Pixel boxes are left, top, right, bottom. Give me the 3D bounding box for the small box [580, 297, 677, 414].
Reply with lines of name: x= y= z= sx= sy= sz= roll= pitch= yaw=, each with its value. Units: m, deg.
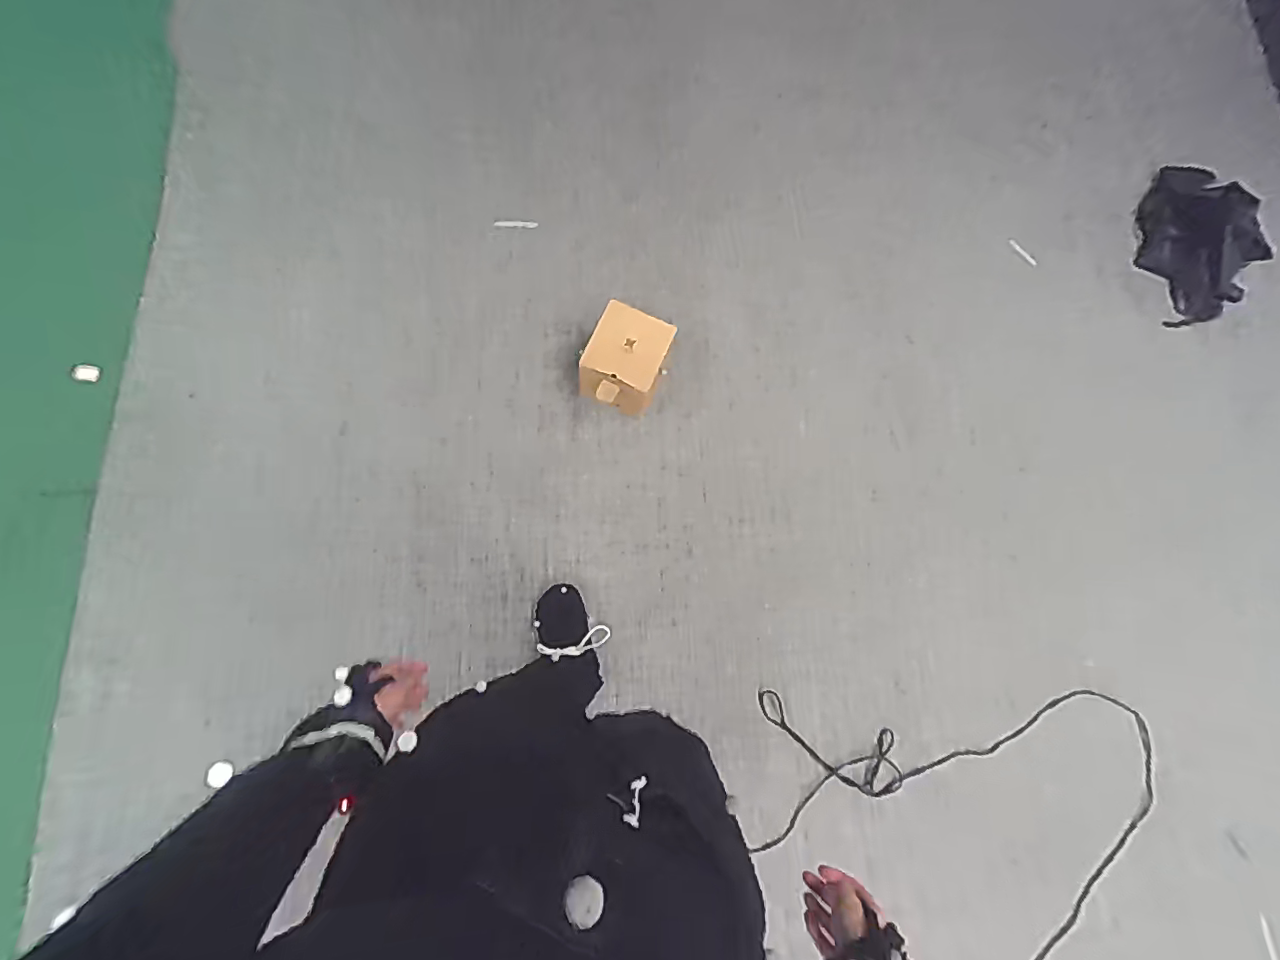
small box: x=-0.033 y=-0.281 z=1.253 sx=0.168 sy=0.176 sz=0.179 roll=24 pitch=77 yaw=0
